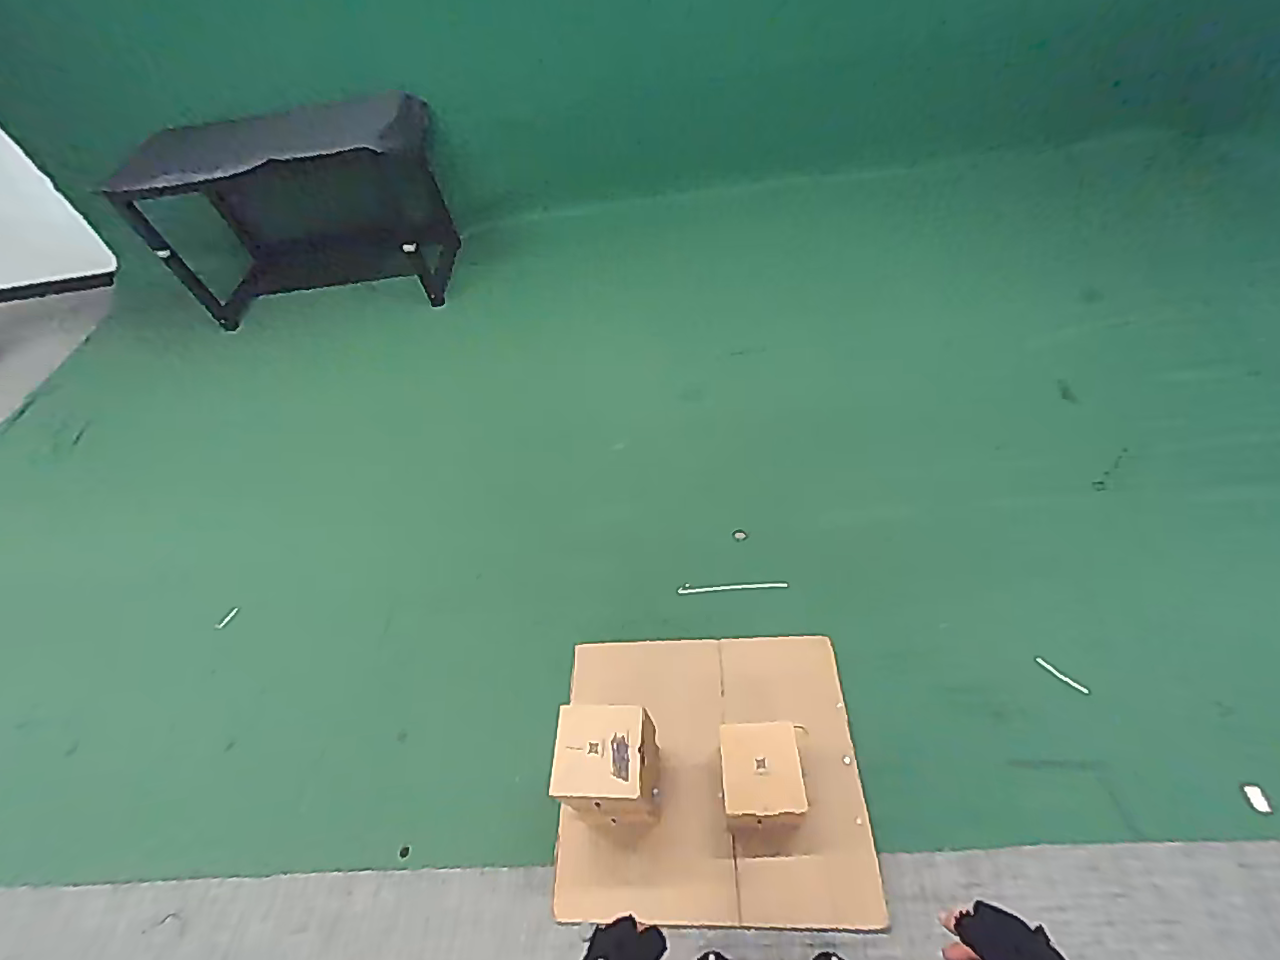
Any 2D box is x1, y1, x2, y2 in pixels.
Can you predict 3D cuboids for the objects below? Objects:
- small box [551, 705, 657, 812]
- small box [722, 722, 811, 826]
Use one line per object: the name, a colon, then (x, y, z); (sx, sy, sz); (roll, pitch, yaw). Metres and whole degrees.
small box: (-0.063, 0.569, 1.102); (0.179, 0.176, 0.168); (-3, 51, 10)
small box: (0.269, 0.652, 1.194); (0.168, 0.176, 0.179); (-6, 52, 6)
